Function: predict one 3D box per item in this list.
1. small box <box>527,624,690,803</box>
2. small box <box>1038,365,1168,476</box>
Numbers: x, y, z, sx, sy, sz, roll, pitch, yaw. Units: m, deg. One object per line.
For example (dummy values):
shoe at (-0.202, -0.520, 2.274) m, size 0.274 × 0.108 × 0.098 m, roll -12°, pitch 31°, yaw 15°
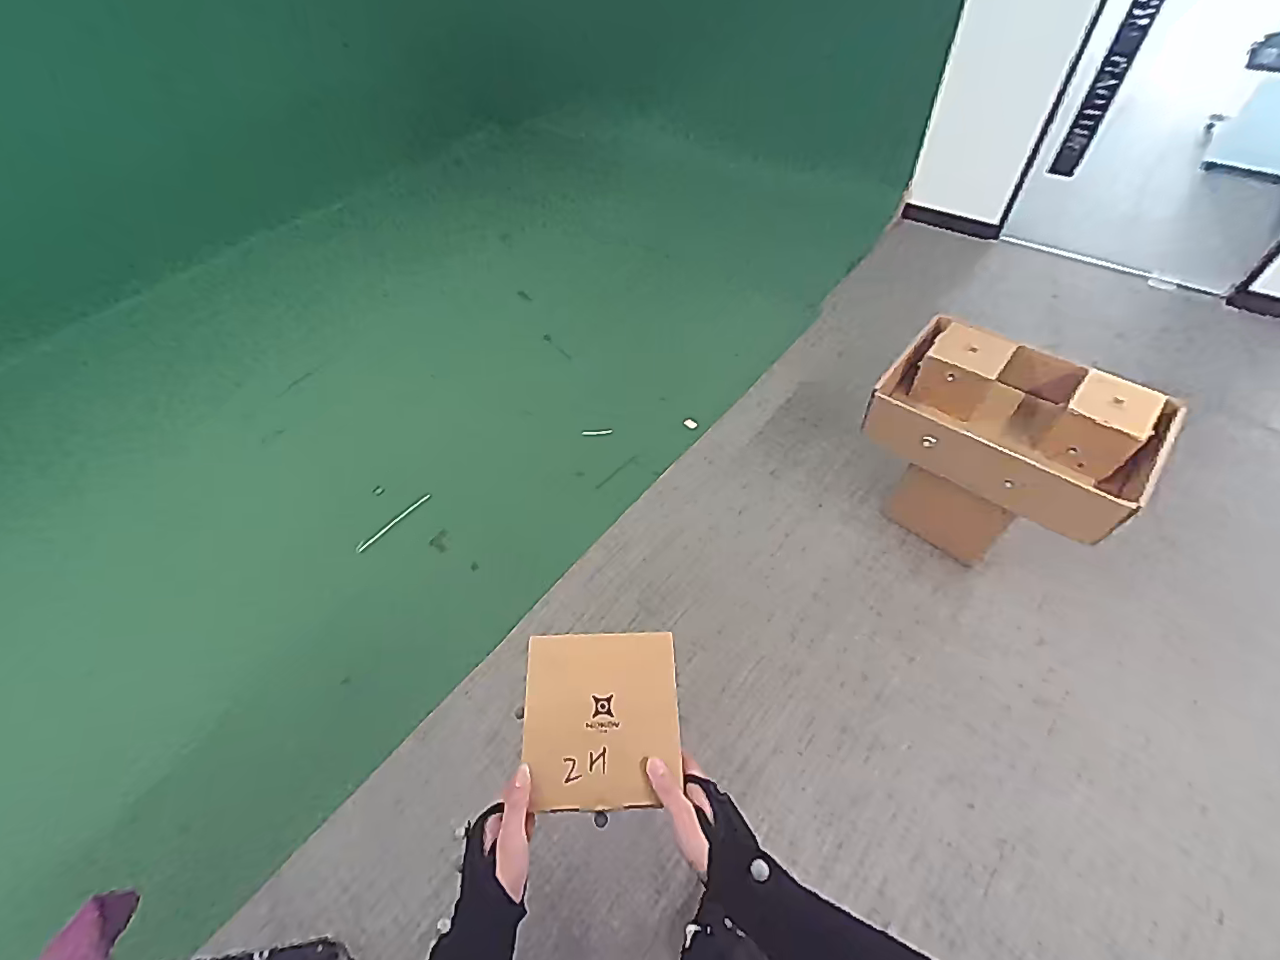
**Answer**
small box at (-0.037, 0.282, 0.646) m, size 0.168 × 0.176 × 0.179 m, roll 0°, pitch 59°, yaw -3°
small box at (1.143, -0.146, 1.349) m, size 0.168 × 0.176 × 0.179 m, roll 35°, pitch 66°, yaw 26°
